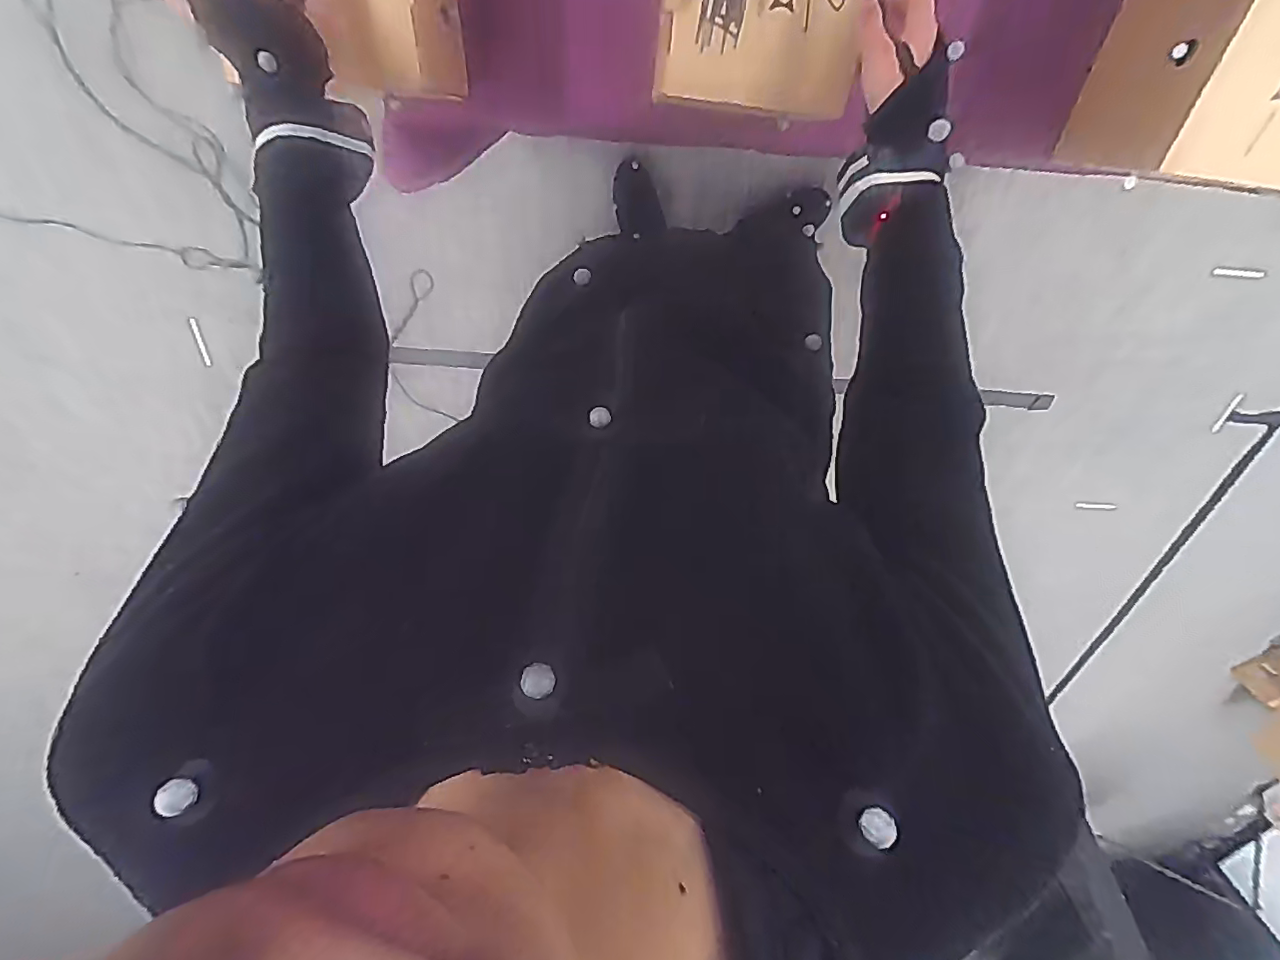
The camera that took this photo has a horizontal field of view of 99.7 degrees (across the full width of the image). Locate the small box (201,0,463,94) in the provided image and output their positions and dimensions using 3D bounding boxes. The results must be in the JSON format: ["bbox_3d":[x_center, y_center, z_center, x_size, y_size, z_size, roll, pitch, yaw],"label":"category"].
[{"bbox_3d":[-0.283,-0.468,0.506,0.179,0.176,0.168,-1,124,-3],"label":"small box"}]

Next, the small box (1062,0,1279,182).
[{"bbox_3d":[0.603,-0.426,0.565,0.168,0.176,0.179,4,124,-5],"label":"small box"}]
